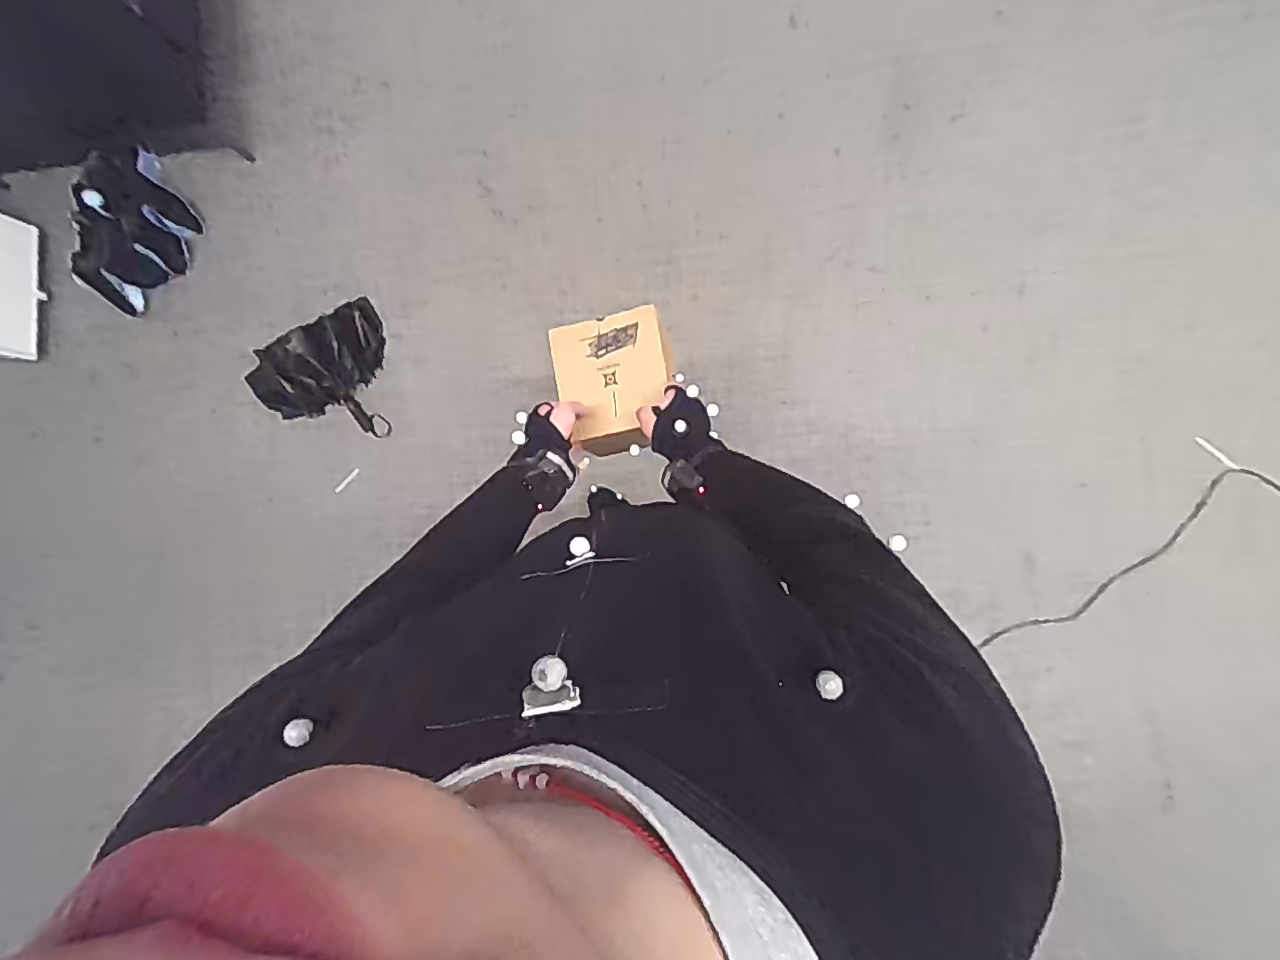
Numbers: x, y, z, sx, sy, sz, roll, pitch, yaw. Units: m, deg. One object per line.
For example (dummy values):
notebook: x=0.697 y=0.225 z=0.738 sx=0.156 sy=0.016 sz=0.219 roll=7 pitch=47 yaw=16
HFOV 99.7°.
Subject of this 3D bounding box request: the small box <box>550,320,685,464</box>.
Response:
small box: x=-0.028 y=-0.130 z=0.865 sx=0.168 sy=0.176 sz=0.179 roll=-11 pitch=85 yaw=11
